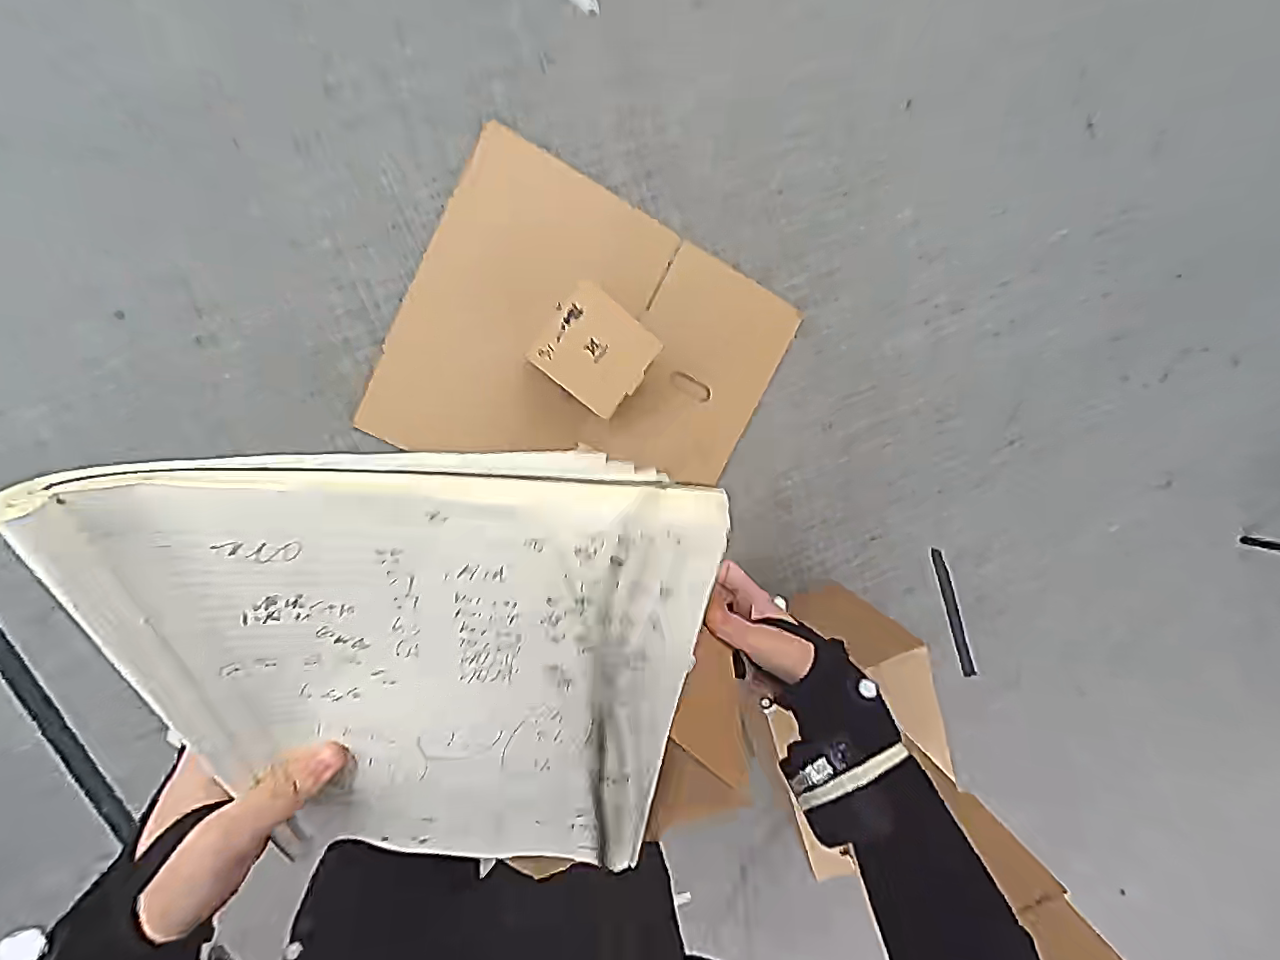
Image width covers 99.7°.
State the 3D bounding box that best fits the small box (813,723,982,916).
[{"bbox_3d":[0.407,0.544,0.888,0.179,0.176,0.168,-25,104,-4],"label":"small box"}]

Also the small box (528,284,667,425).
[{"bbox_3d":[-0.083,-0.223,0.973,0.179,0.176,0.168,38,92,-16],"label":"small box"}]

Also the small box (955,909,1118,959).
[{"bbox_3d":[0.463,0.614,0.571,0.179,0.176,0.168,-22,103,-4],"label":"small box"}]

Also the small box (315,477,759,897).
[{"bbox_3d":[-0.048,0.121,0.348,0.168,0.176,0.179,-32,115,20],"label":"small box"}]
